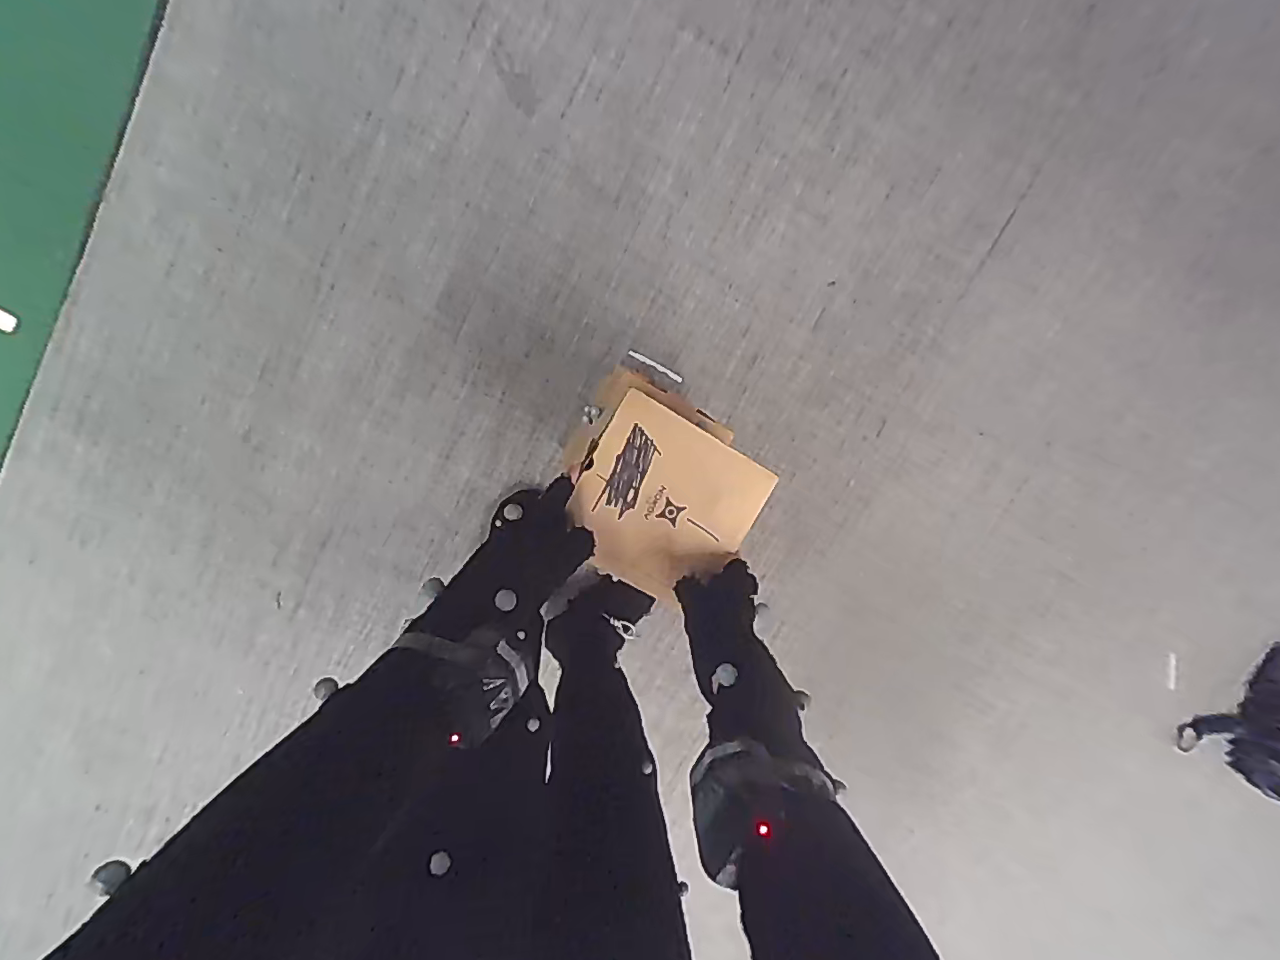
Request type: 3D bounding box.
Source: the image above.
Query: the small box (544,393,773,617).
[{"bbox_3d":[0.010,0.020,0.607,0.179,0.176,0.168,30,92,-10],"label":"small box"}]

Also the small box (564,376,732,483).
[{"bbox_3d":[0.002,-0.036,0.772,0.168,0.176,0.179,29,99,-10],"label":"small box"}]

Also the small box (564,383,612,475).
[{"bbox_3d":[-0.016,-0.058,0.933,0.179,0.176,0.168,29,97,-12],"label":"small box"}]
